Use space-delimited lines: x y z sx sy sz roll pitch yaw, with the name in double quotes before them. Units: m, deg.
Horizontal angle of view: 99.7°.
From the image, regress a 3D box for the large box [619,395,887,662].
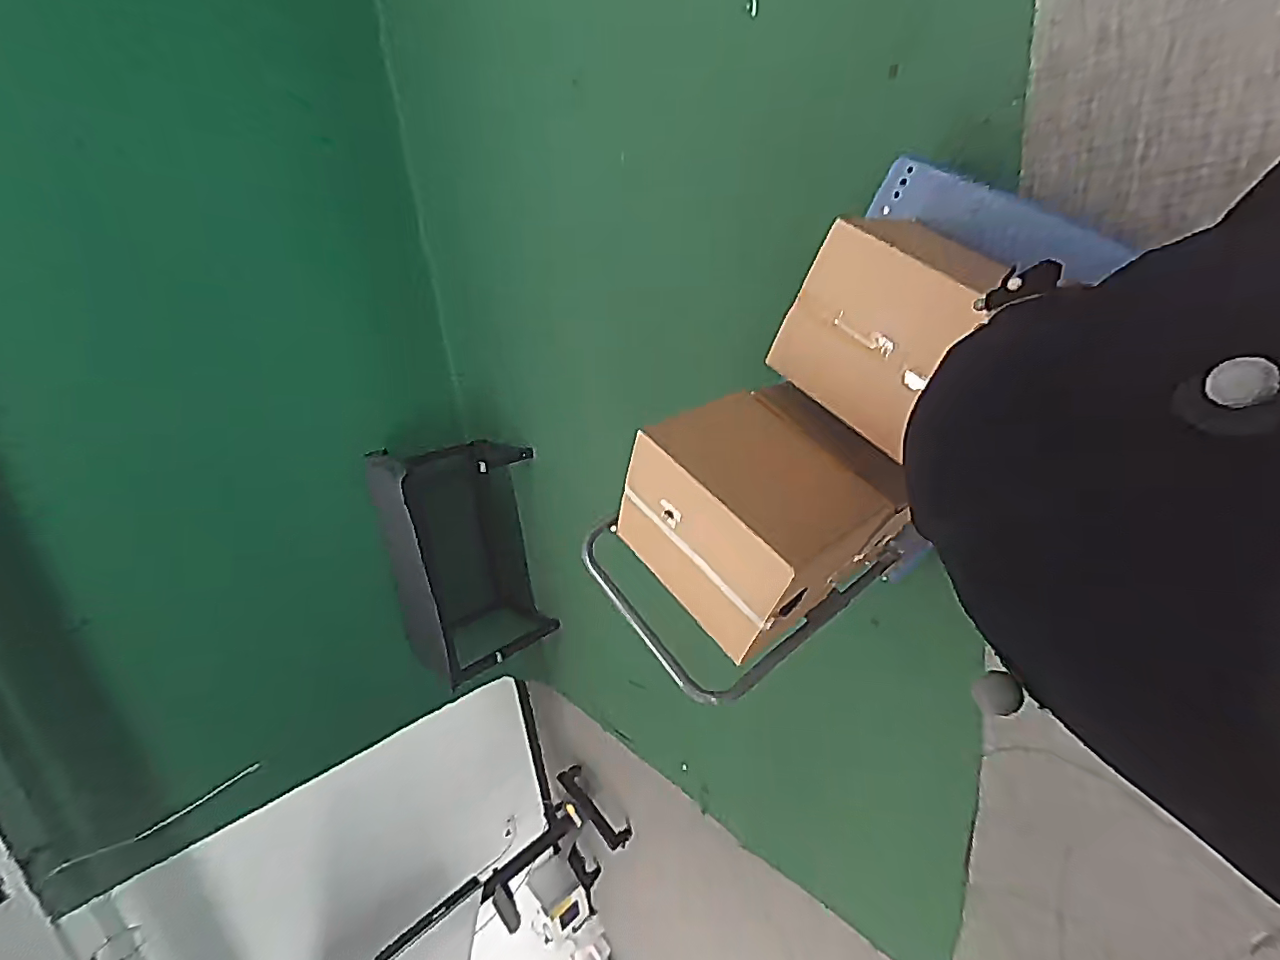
"large box" 0.212 0.082 1.131 0.408 0.320 0.320 45 141 29
